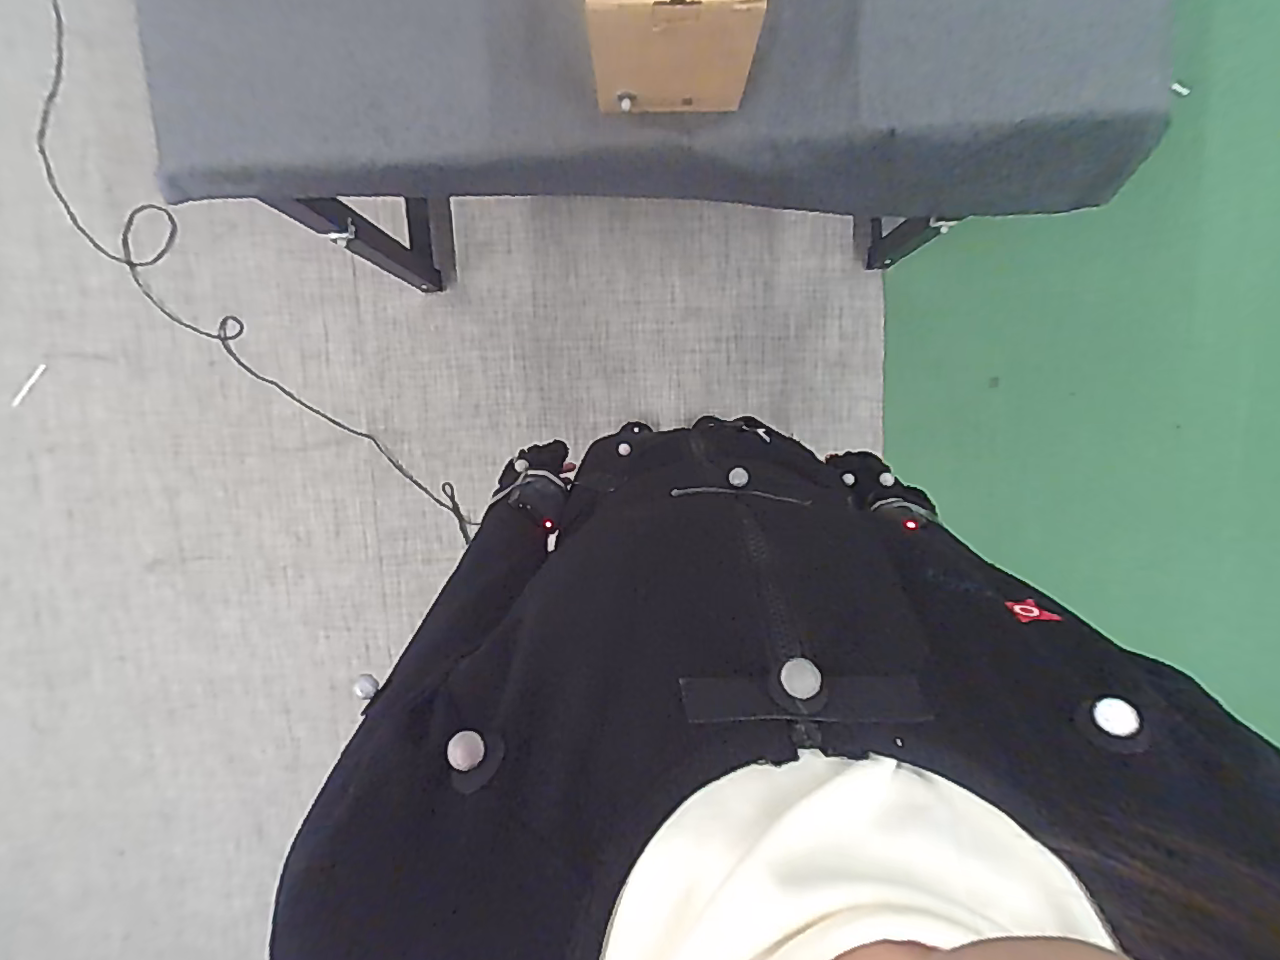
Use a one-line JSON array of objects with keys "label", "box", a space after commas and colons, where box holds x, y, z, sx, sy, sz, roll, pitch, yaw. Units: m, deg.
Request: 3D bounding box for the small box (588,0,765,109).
[{"label": "small box", "box": [0.037, -0.524, 0.566, 0.168, 0.176, 0.179, 1, 95, 0]}]
